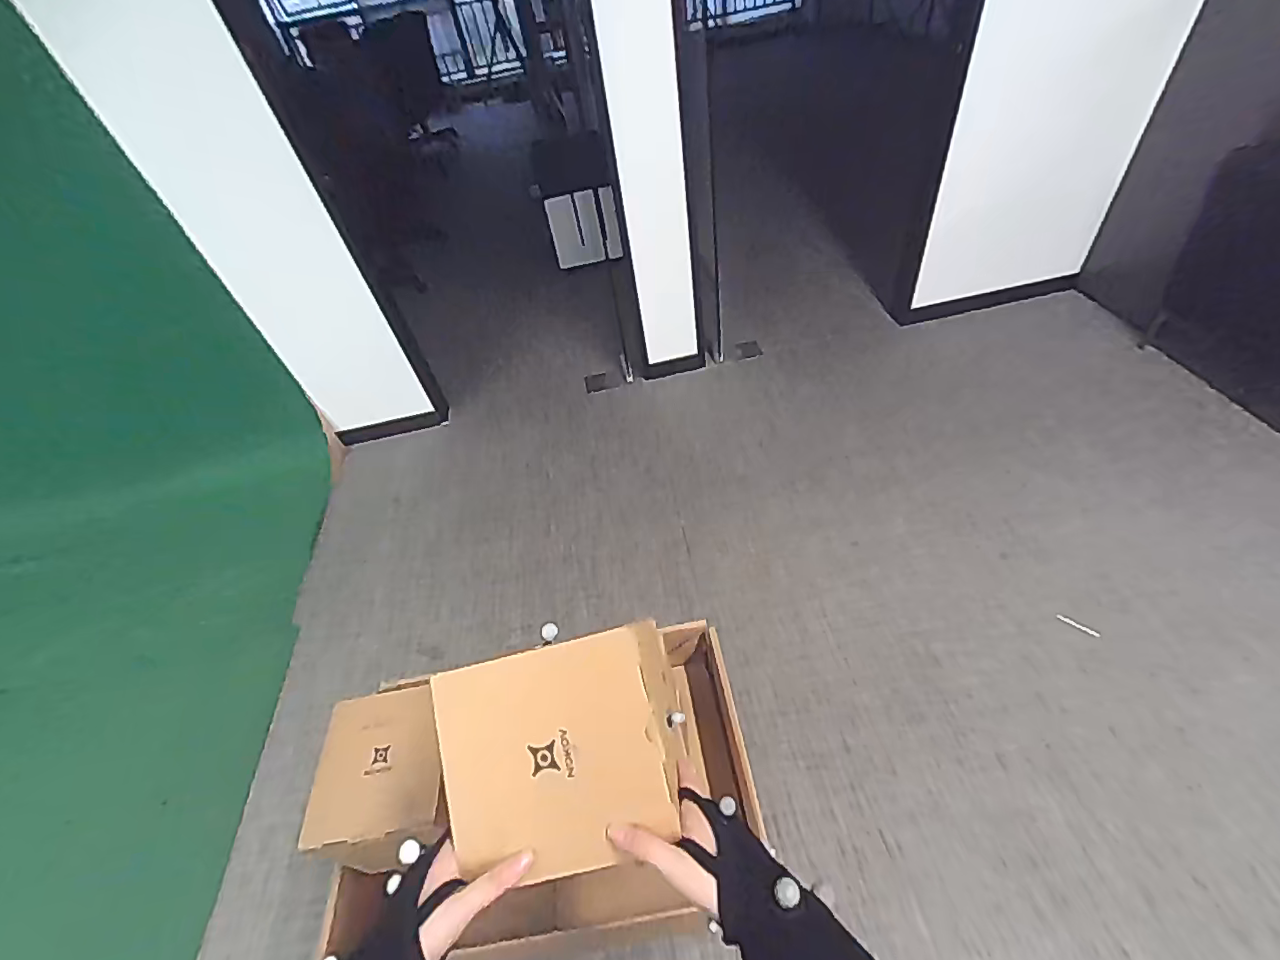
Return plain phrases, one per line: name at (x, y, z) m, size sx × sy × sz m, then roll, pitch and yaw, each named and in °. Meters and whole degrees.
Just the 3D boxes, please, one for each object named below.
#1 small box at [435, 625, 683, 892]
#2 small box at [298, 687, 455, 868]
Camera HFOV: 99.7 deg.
small box at (-0.062, 0.236, 0.502) m, size 0.179 × 0.176 × 0.168 m, roll -14°, pitch 76°, yaw 2°
small box at (-0.314, 0.408, 0.736) m, size 0.168 × 0.176 × 0.179 m, roll -10°, pitch 46°, yaw 1°
